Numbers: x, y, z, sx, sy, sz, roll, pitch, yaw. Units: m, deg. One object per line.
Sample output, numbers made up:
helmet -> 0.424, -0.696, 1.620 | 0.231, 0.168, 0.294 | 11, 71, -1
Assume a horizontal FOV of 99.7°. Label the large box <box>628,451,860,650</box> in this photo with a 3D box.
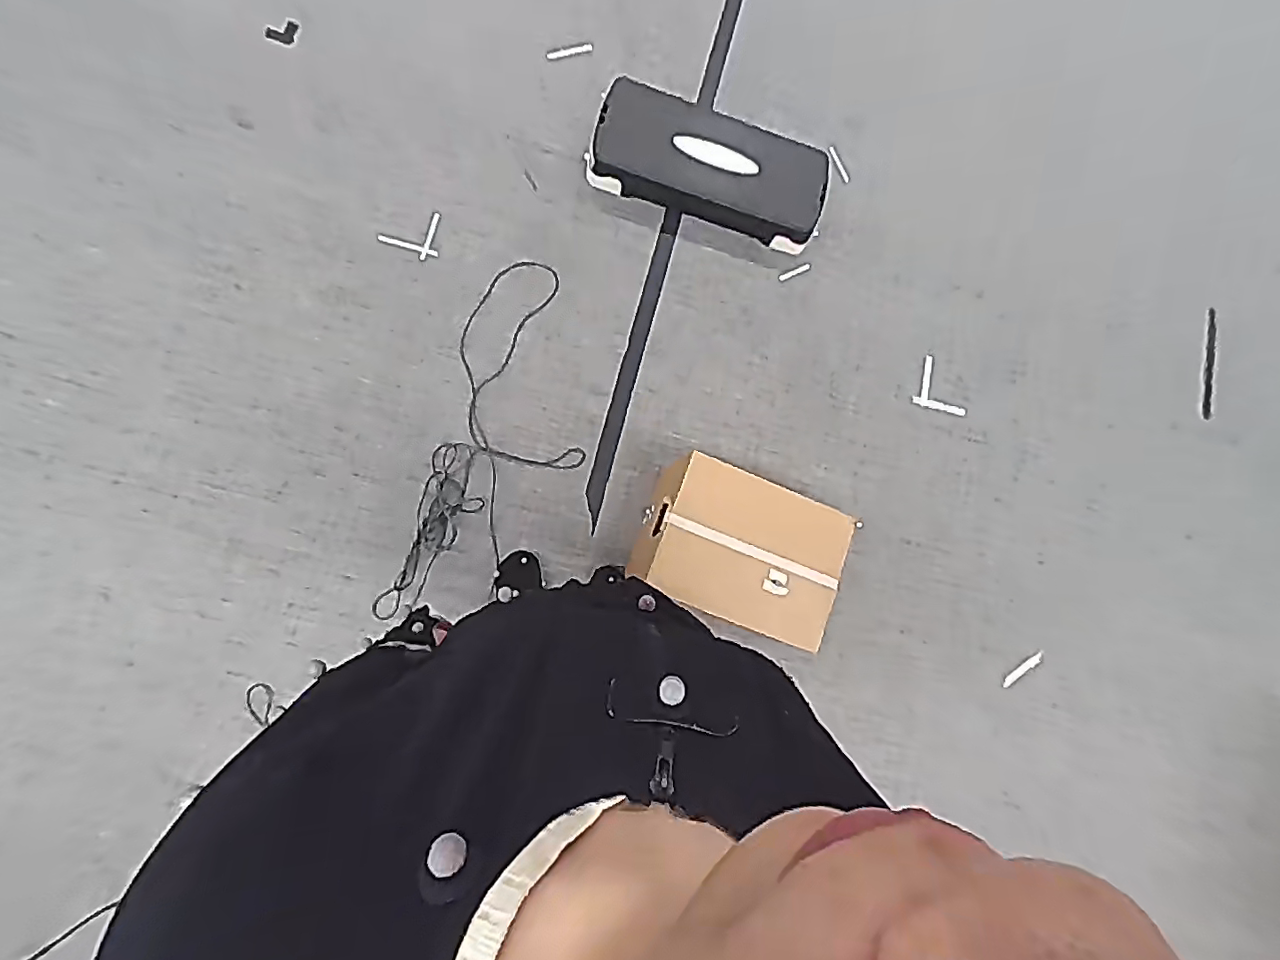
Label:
large box -> 0.223, 0.165, 1.277 | 0.408, 0.320, 0.320 | 22, 80, -7
